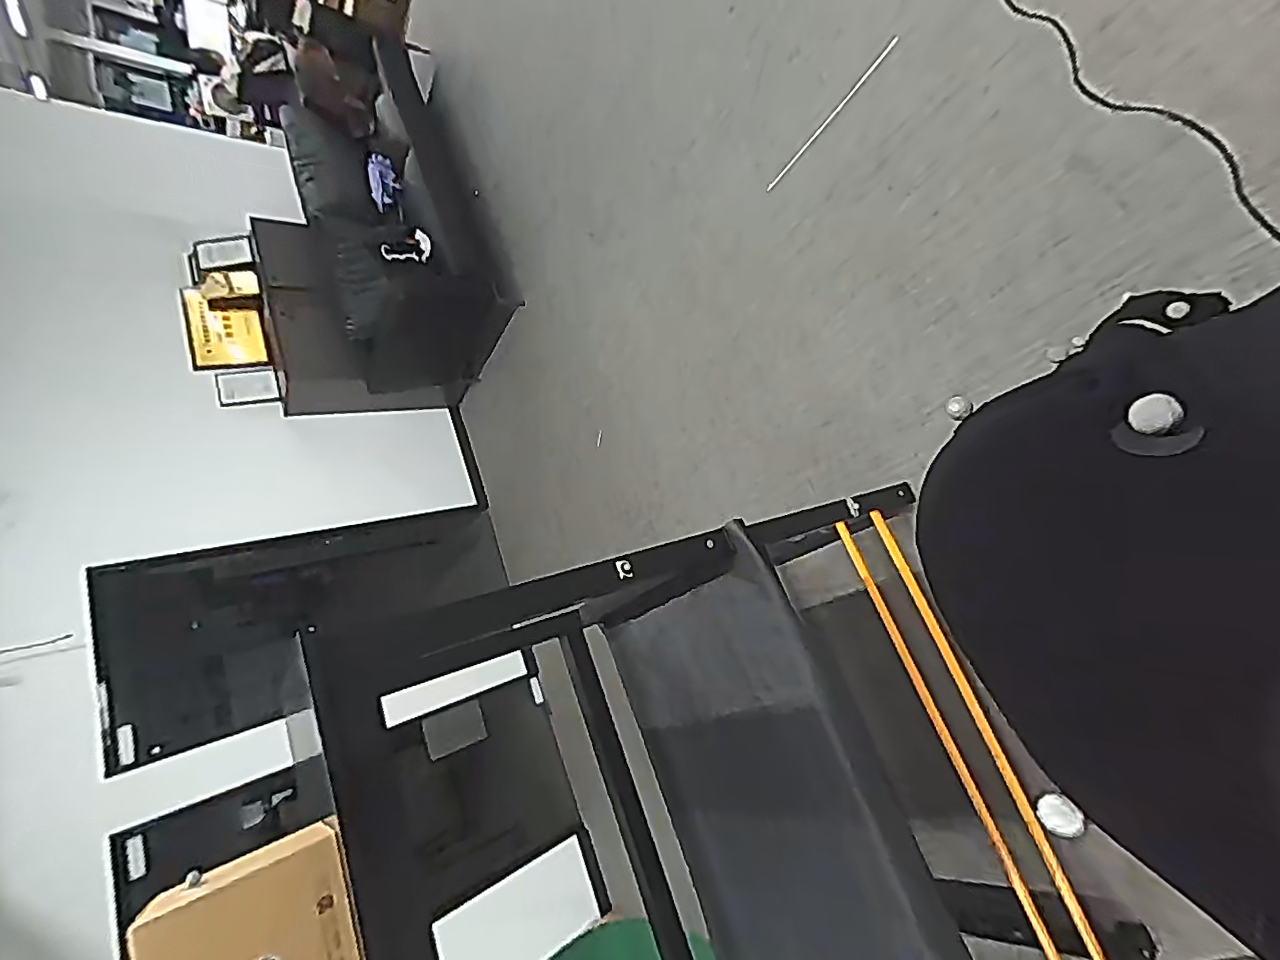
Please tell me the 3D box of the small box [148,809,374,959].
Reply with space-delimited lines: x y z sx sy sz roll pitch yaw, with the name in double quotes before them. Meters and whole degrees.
"small box" -0.399 0.484 0.586 0.179 0.176 0.168 -38 67 49
